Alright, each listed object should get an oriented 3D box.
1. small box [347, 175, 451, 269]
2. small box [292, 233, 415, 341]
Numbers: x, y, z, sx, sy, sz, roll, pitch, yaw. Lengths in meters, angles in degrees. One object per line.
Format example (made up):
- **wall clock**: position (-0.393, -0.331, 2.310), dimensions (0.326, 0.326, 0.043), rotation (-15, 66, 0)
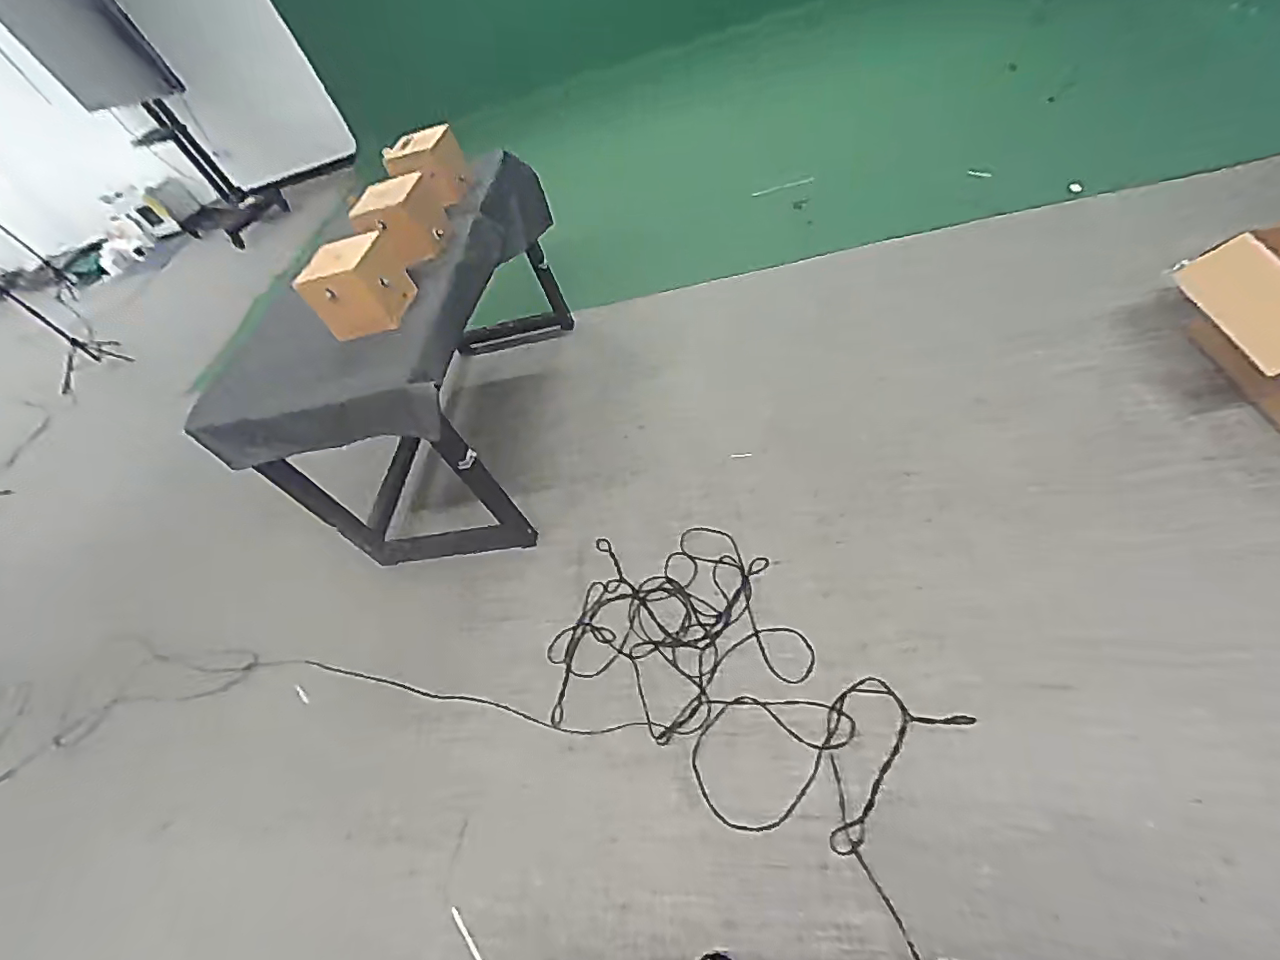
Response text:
- **small box**: position (-0.663, -0.711, 1.507), dimensions (0.179, 0.176, 0.168), rotation (-6, 53, 14)
- **small box**: position (-0.690, -0.468, 1.325), dimensions (0.179, 0.176, 0.168), rotation (-7, 51, 15)
